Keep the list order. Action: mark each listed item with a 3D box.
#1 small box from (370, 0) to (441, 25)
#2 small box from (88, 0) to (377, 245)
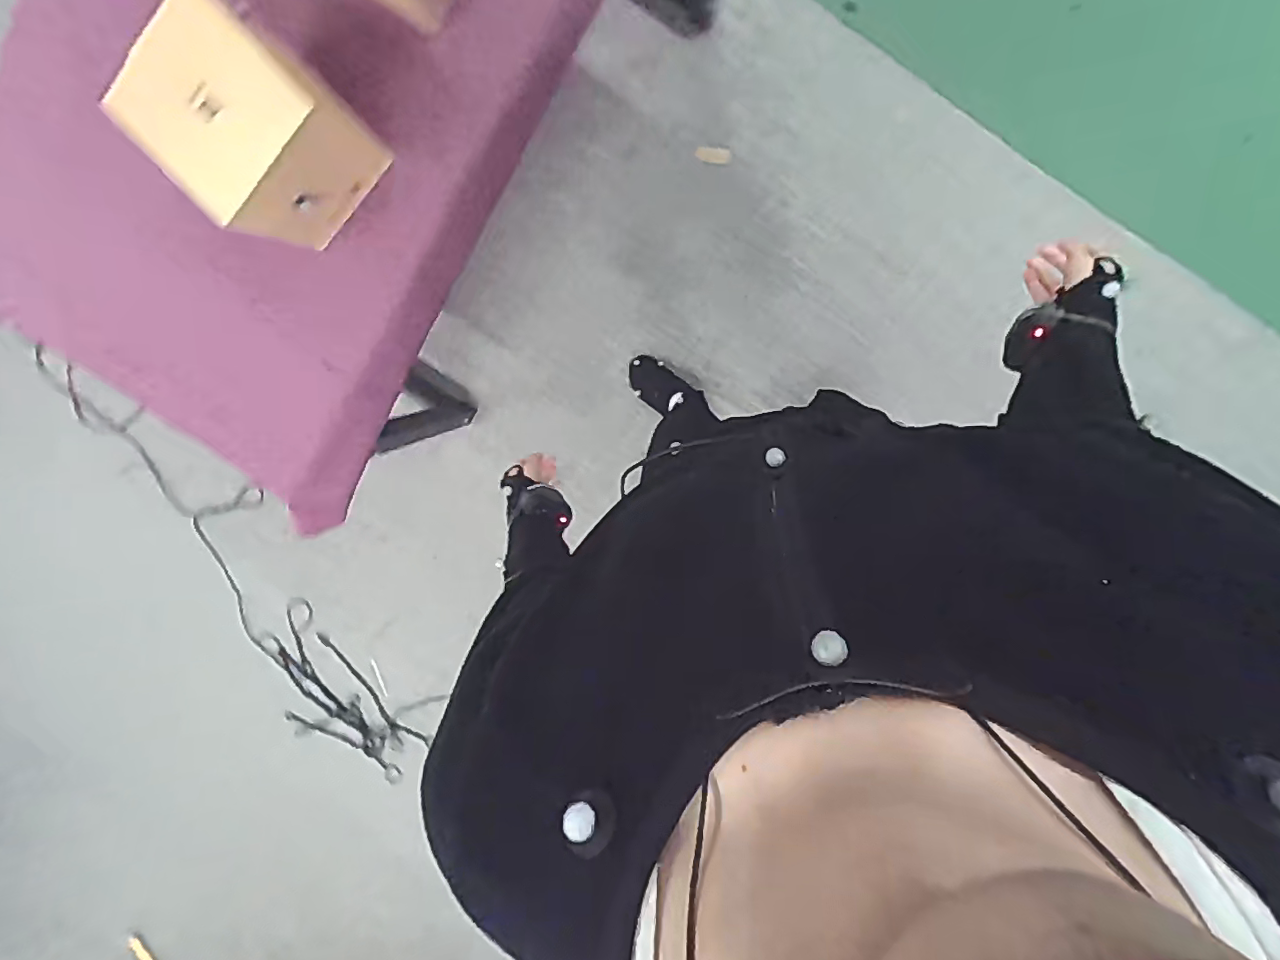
[{"bbox_3d":[-0.303,-0.641,0.567,0.179,0.176,0.168,29,104,-3],"label":"small box"},{"bbox_3d":[-0.456,-0.404,0.635,0.168,0.176,0.179,-43,96,13],"label":"small box"}]
